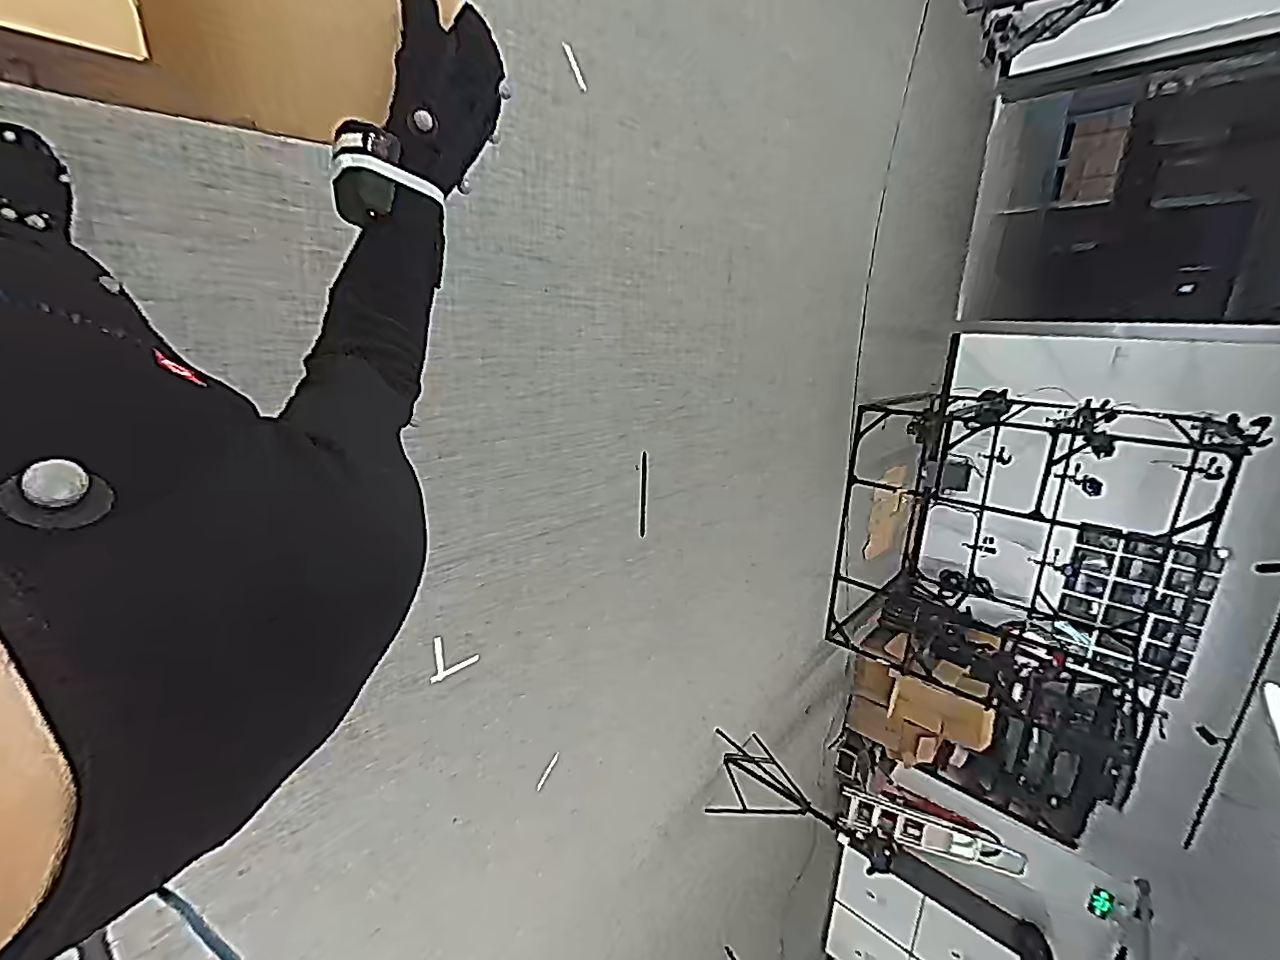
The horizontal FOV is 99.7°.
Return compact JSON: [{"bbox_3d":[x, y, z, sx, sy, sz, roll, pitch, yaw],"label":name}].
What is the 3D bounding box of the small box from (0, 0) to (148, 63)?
[{"bbox_3d":[-0.397,-0.324,0.253,0.179,0.176,0.168,-34,138,-54],"label":"small box"}]
